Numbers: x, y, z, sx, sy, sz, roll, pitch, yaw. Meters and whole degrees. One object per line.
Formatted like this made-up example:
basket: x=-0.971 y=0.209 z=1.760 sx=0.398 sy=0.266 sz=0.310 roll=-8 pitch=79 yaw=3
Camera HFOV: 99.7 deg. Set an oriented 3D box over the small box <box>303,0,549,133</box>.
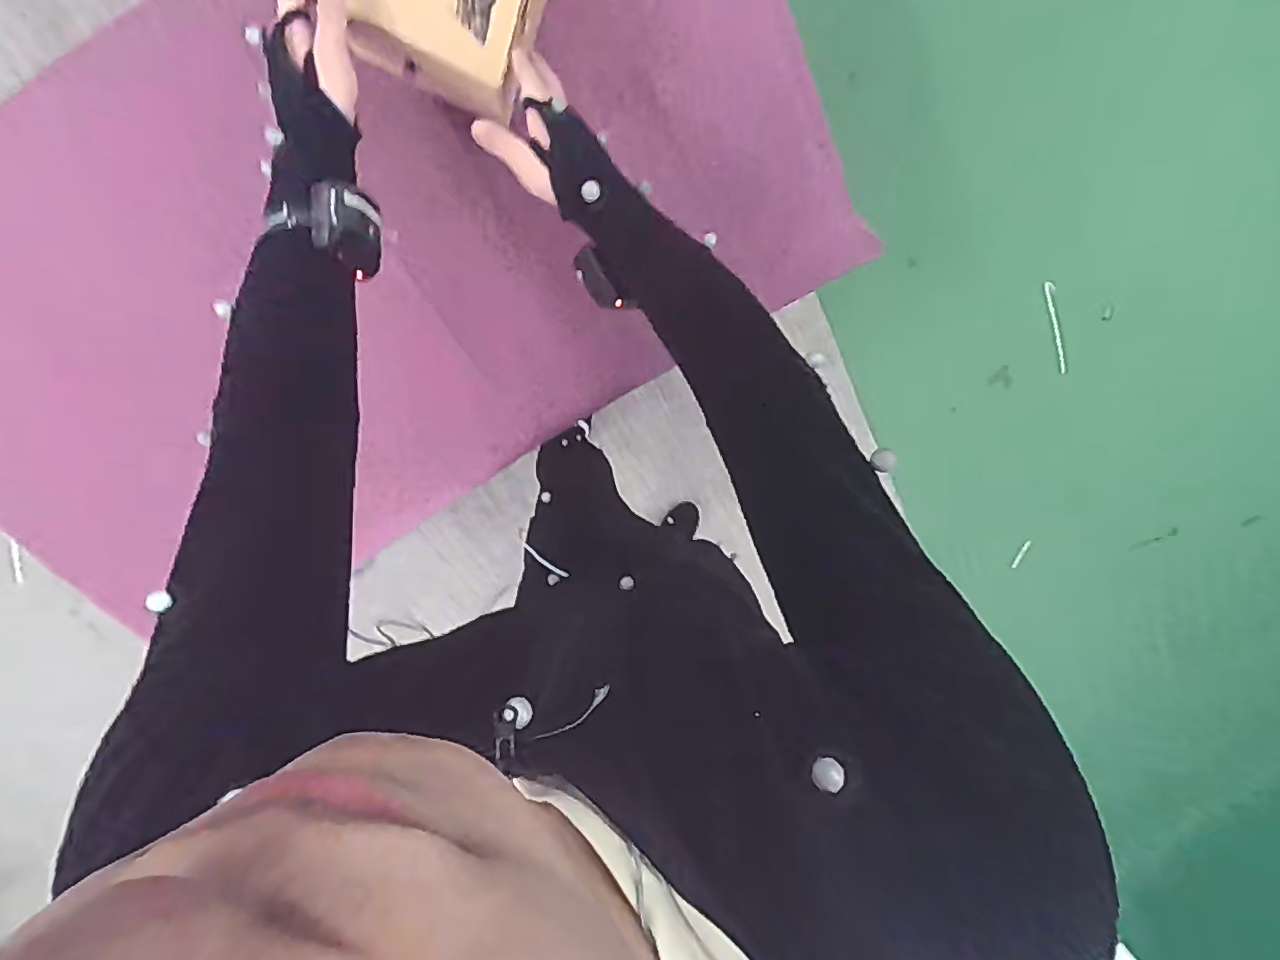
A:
small box: x=-0.193 y=-0.478 z=0.538 sx=0.179 sy=0.176 sz=0.168 roll=19 pitch=106 yaw=-17
